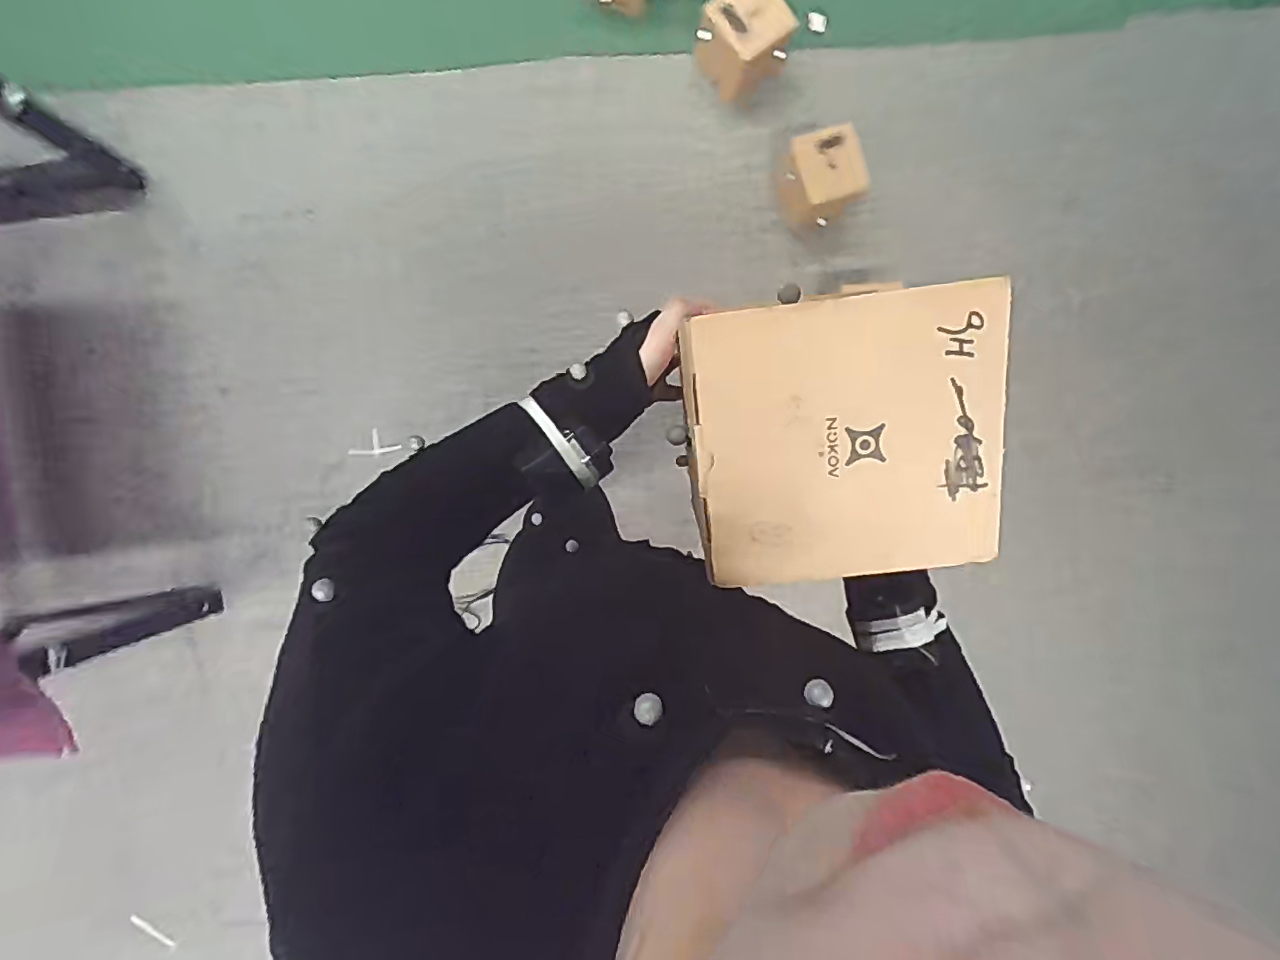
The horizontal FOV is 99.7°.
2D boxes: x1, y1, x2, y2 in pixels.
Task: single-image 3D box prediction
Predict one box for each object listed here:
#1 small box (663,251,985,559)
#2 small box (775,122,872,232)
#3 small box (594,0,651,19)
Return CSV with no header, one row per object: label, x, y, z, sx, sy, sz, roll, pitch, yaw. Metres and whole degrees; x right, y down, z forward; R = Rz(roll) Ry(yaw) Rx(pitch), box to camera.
small box,0.112,-0.056,0.391,0.179,0.176,0.168,-6,104,3
small box,0.476,-0.791,1.427,0.168,0.176,0.179,-17,92,-3
small box,-0.033,-1.365,1.395,0.168,0.176,0.179,19,89,-3
